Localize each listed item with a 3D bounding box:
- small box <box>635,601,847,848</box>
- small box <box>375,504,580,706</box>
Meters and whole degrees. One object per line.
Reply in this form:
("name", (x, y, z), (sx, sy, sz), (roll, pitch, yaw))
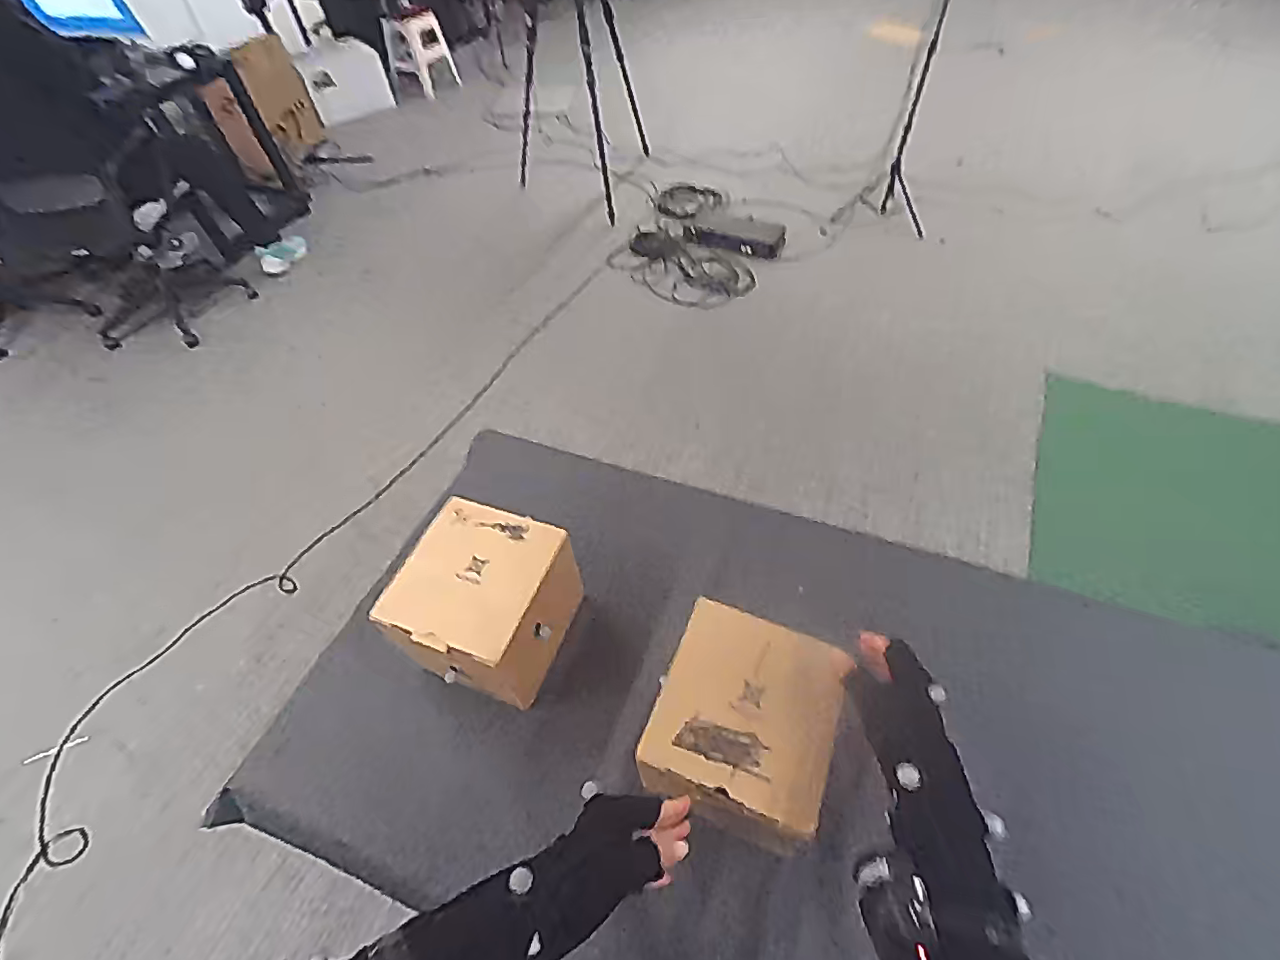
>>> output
("small box", (0.108, 0.268, 0.589), (0.168, 0.176, 0.179), (17, 54, 17))
("small box", (-0.189, 0.164, 0.694), (0.168, 0.176, 0.179), (15, 55, 15))
